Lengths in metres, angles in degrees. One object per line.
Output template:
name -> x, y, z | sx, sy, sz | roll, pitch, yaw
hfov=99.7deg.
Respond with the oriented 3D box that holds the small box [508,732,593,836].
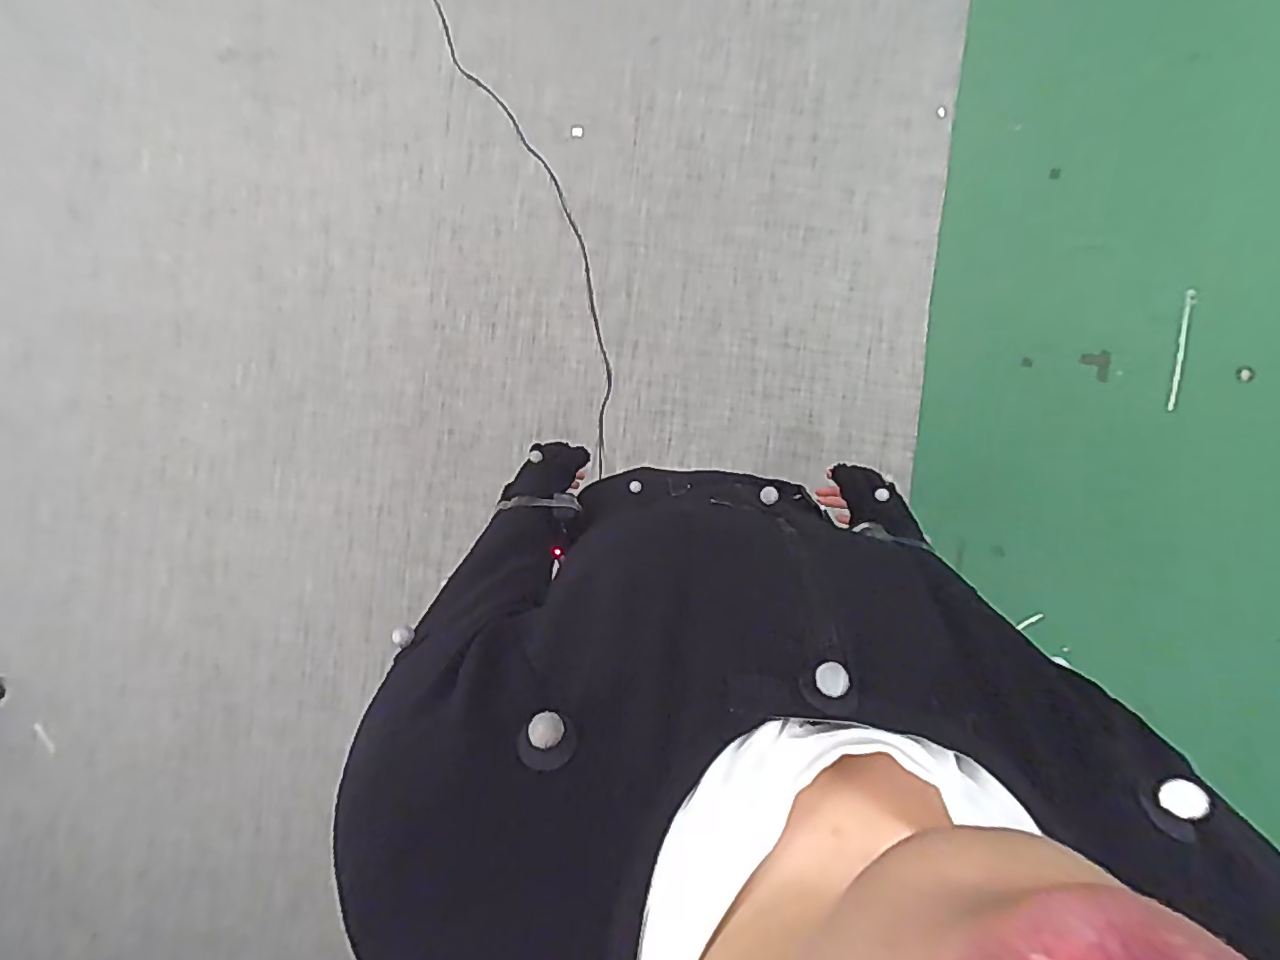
small box -> -0.228, 0.783, 1.412 | 0.179, 0.176, 0.168 | 9, 92, 0
